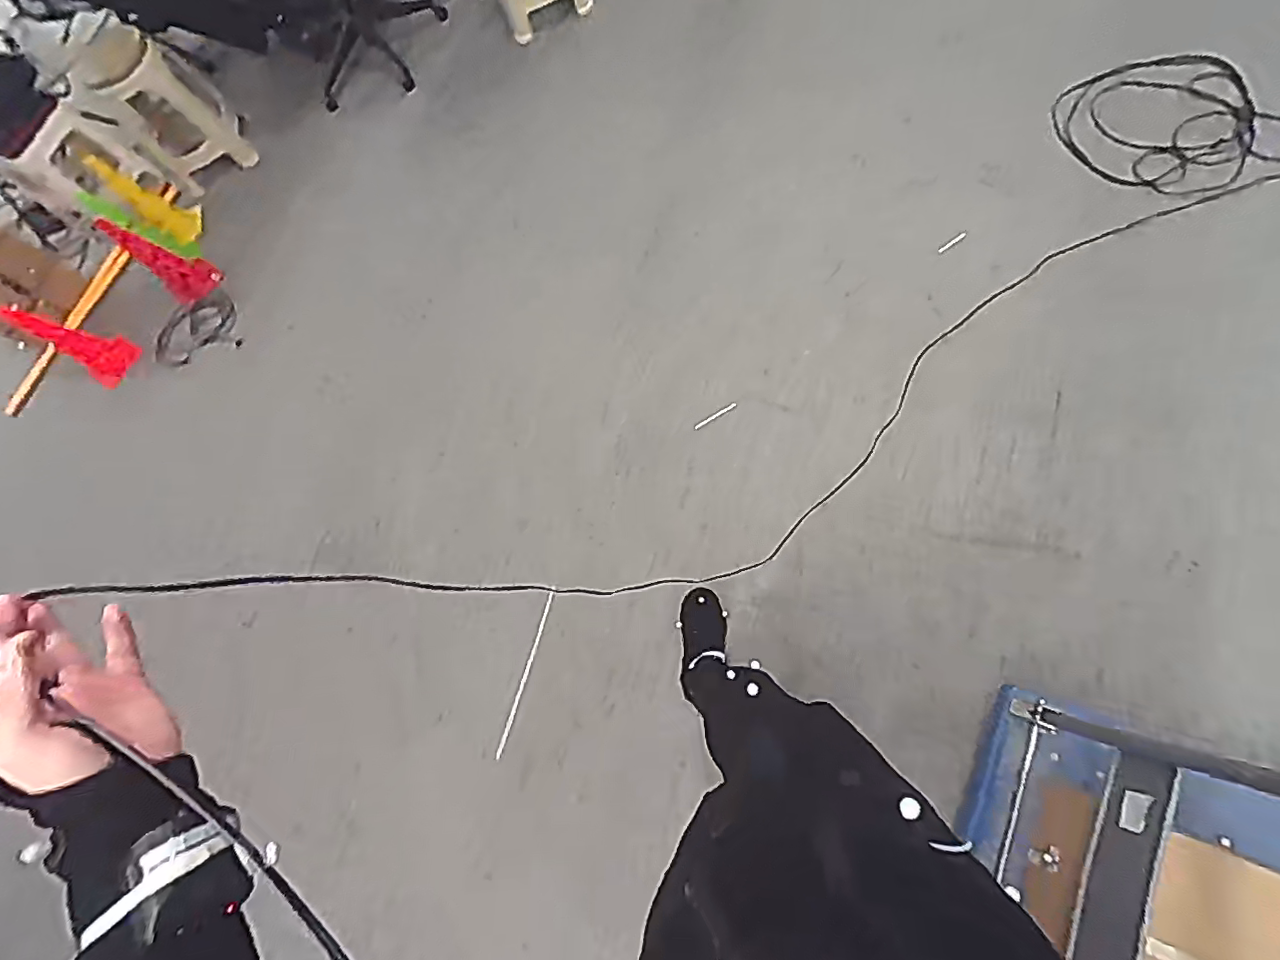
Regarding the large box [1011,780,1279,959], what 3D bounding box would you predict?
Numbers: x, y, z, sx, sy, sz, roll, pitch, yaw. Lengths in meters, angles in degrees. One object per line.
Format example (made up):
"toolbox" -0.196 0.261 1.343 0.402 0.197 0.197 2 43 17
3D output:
"large box" 0.899 0.745 0.858 0.408 0.320 0.320 19 79 16
